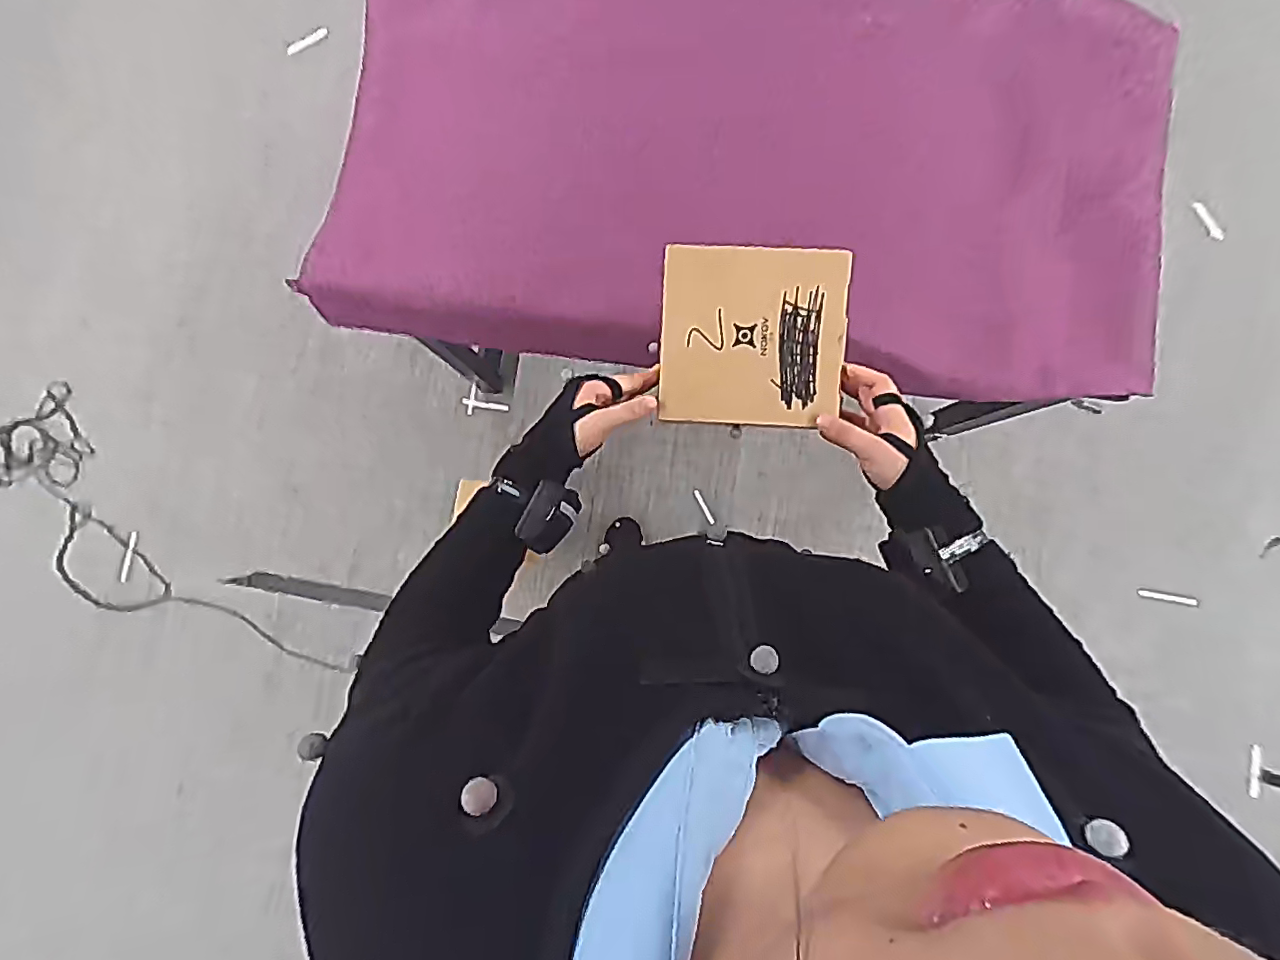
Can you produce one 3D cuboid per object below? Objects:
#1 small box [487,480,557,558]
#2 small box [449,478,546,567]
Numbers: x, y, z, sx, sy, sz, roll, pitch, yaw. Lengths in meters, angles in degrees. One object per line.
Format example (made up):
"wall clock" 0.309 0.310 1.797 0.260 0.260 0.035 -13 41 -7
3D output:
"small box" -0.329 0.108 1.437 0.168 0.176 0.179 15 86 2
"small box" -0.325 0.099 1.272 0.168 0.176 0.179 10 86 2
